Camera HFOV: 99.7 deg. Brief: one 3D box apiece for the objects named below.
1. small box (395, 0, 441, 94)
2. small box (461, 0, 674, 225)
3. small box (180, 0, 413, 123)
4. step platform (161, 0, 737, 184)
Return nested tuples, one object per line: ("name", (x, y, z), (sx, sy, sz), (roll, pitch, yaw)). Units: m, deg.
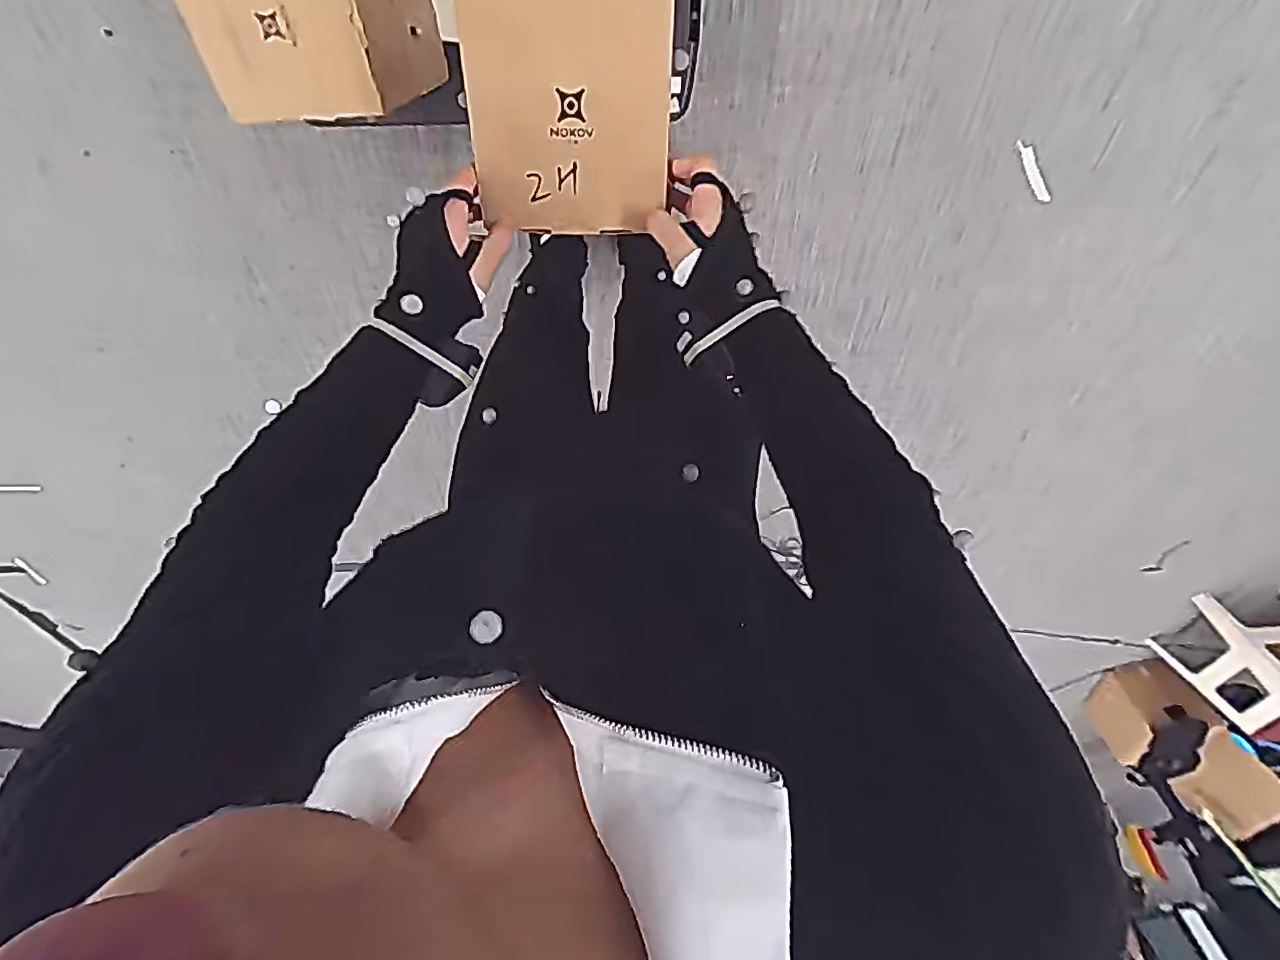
("small box", (-0.386, -0.635, 0.739), (0.179, 0.176, 0.168), (-3, 133, 0))
("small box", (-0.063, -0.356, 0.517), (0.168, 0.176, 0.179), (0, 125, -3))
("small box", (-0.379, -0.524, 0.619), (0.179, 0.176, 0.168), (-4, 132, 0))
("step platform", (-0.225, -0.590, 0.740), (0.684, 0.204, 0.286), (-2, 132, -2))
